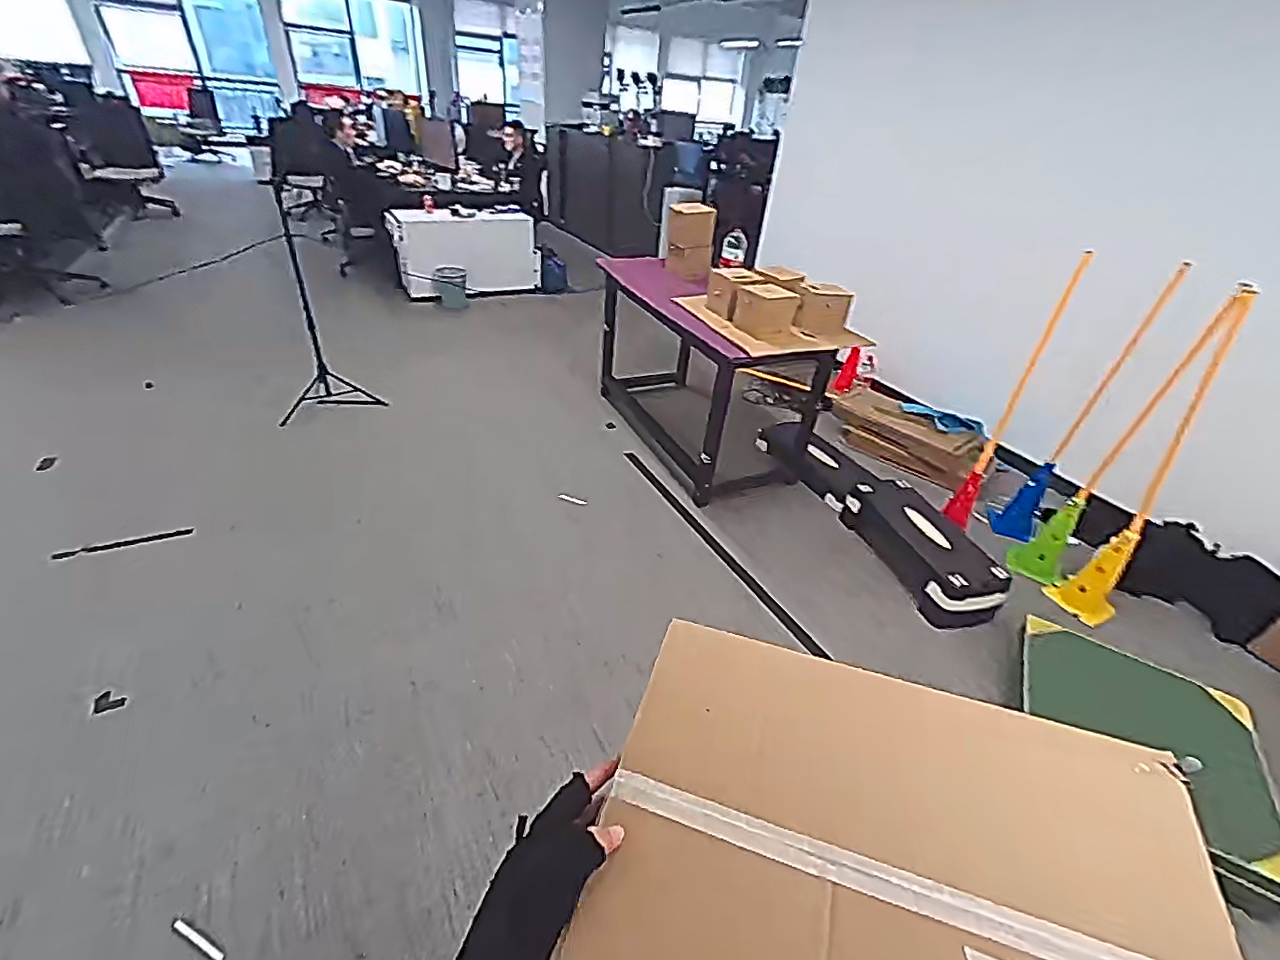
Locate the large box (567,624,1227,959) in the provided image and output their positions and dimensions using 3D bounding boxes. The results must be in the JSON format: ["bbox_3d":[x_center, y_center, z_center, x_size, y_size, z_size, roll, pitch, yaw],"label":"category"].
[{"bbox_3d":[0.183,0.387,0.485,0.408,0.320,0.320,12,46,17],"label":"large box"}]
